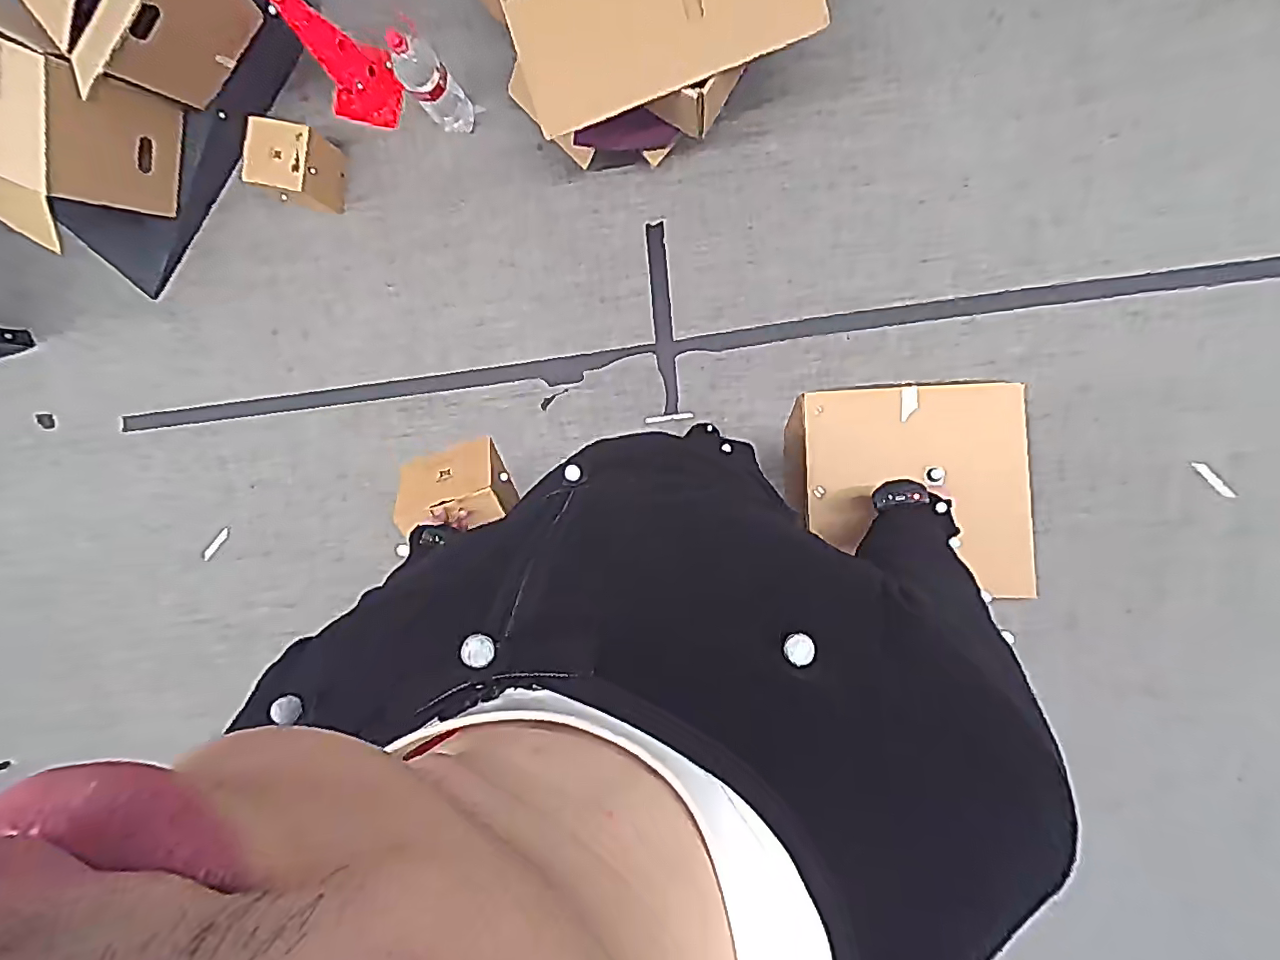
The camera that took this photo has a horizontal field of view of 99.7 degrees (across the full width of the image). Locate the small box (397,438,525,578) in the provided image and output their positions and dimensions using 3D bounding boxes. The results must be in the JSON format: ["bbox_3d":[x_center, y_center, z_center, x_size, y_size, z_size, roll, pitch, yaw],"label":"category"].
[{"bbox_3d":[-0.318,0.057,0.989,0.168,0.179,0.176,-19,126,-4],"label":"small box"}]
